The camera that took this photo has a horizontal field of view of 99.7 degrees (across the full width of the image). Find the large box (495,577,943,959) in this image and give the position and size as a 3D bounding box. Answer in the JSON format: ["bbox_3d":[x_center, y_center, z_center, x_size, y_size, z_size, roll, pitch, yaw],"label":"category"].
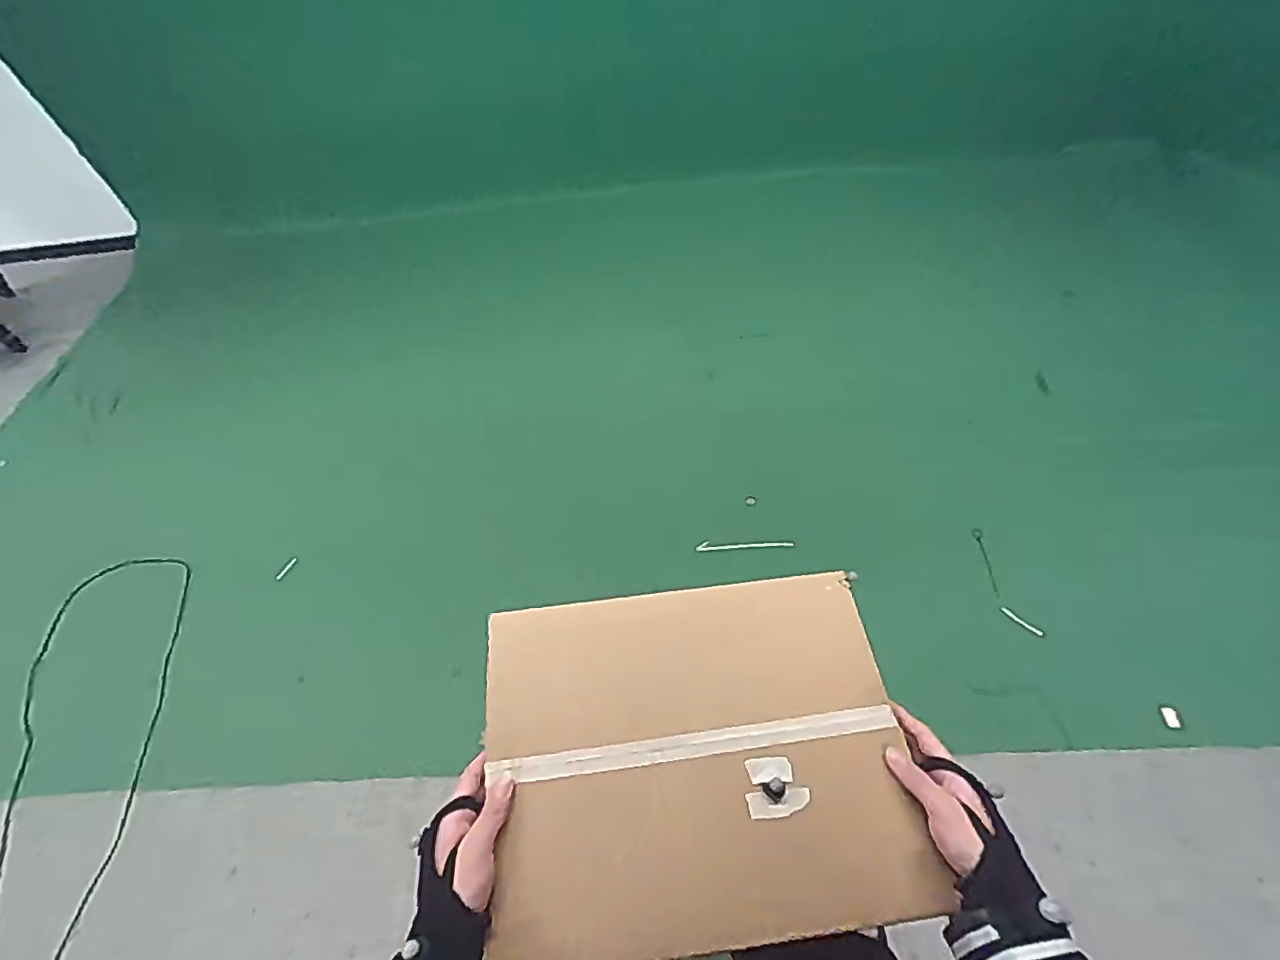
[{"bbox_3d":[0.053,0.344,0.667,0.408,0.320,0.320,-6,59,-4],"label":"large box"}]
